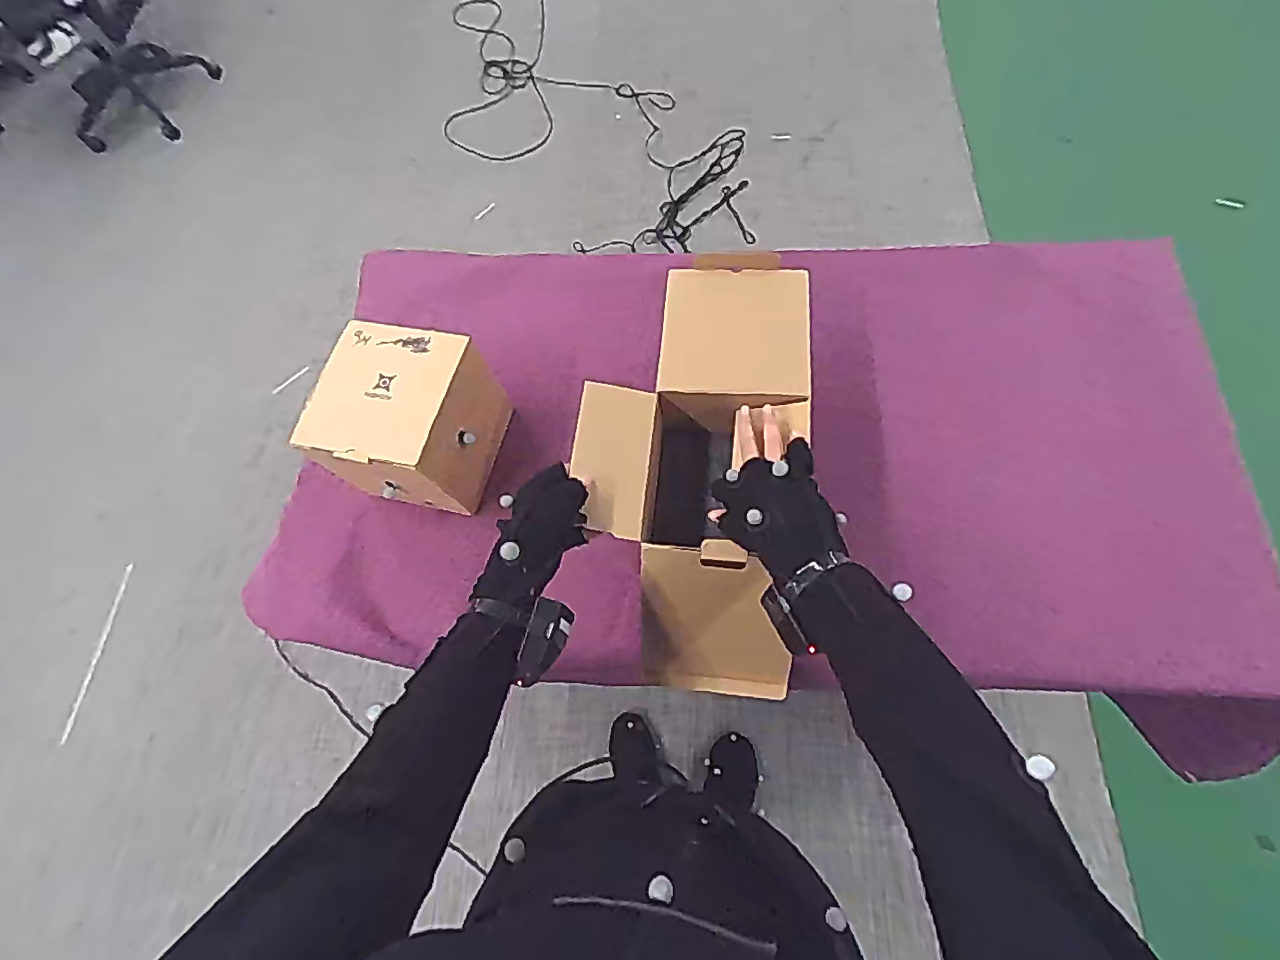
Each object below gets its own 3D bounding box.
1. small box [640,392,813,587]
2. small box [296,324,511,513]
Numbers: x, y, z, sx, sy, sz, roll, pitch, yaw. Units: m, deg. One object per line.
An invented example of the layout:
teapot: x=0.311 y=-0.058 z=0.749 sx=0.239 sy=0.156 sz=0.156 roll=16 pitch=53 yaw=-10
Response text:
small box: x=0.099 y=0.019 z=0.619 sx=0.168 sy=0.176 sz=0.179 roll=4 pitch=68 yaw=8
small box: x=-0.286 y=-0.071 z=0.700 sx=0.168 sy=0.176 sz=0.179 roll=11 pitch=70 yaw=10
